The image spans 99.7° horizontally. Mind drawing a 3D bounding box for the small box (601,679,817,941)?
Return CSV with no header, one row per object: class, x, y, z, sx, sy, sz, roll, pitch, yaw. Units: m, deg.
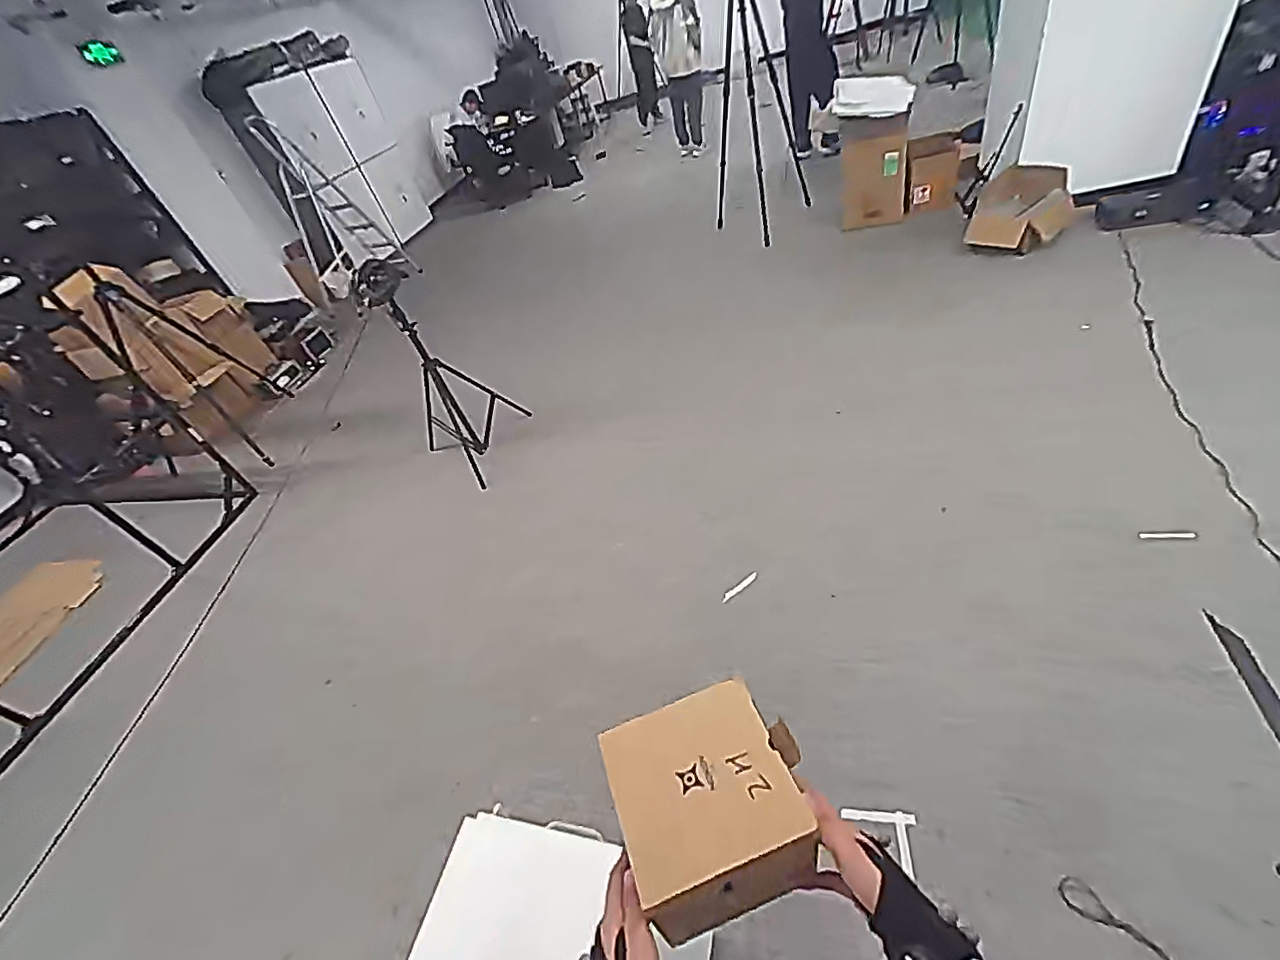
small box,0.075,0.359,0.590,0.179,0.176,0.168,-19,40,-7
